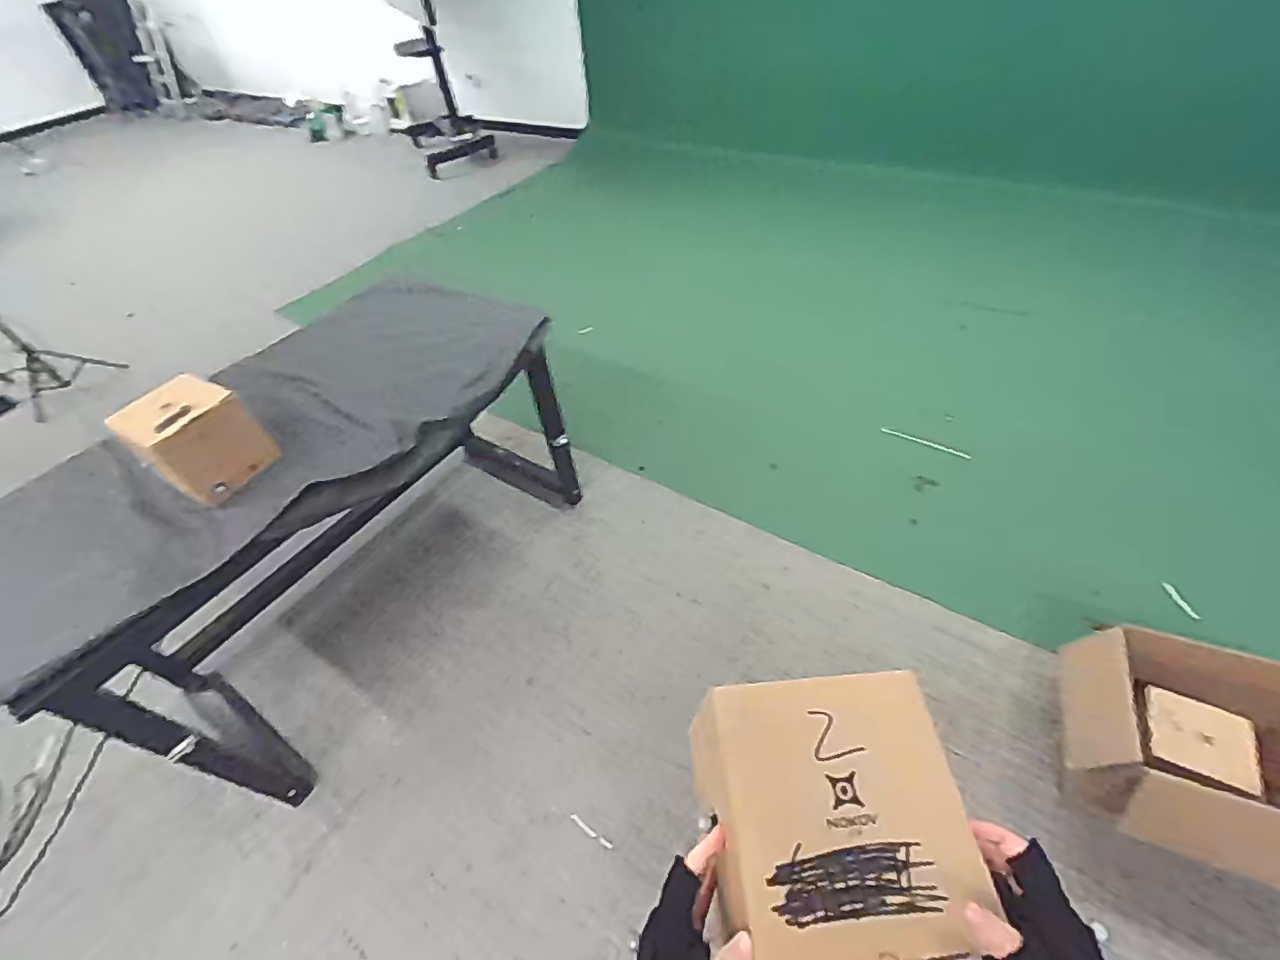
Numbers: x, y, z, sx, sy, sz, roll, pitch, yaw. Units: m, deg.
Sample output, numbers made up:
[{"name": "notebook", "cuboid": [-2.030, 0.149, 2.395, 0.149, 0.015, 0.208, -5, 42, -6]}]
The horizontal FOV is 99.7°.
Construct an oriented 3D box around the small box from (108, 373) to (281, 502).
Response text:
[{"name": "small box", "cuboid": [-0.867, -0.080, 1.072, 0.179, 0.176, 0.168, 19, 53, 23]}]
